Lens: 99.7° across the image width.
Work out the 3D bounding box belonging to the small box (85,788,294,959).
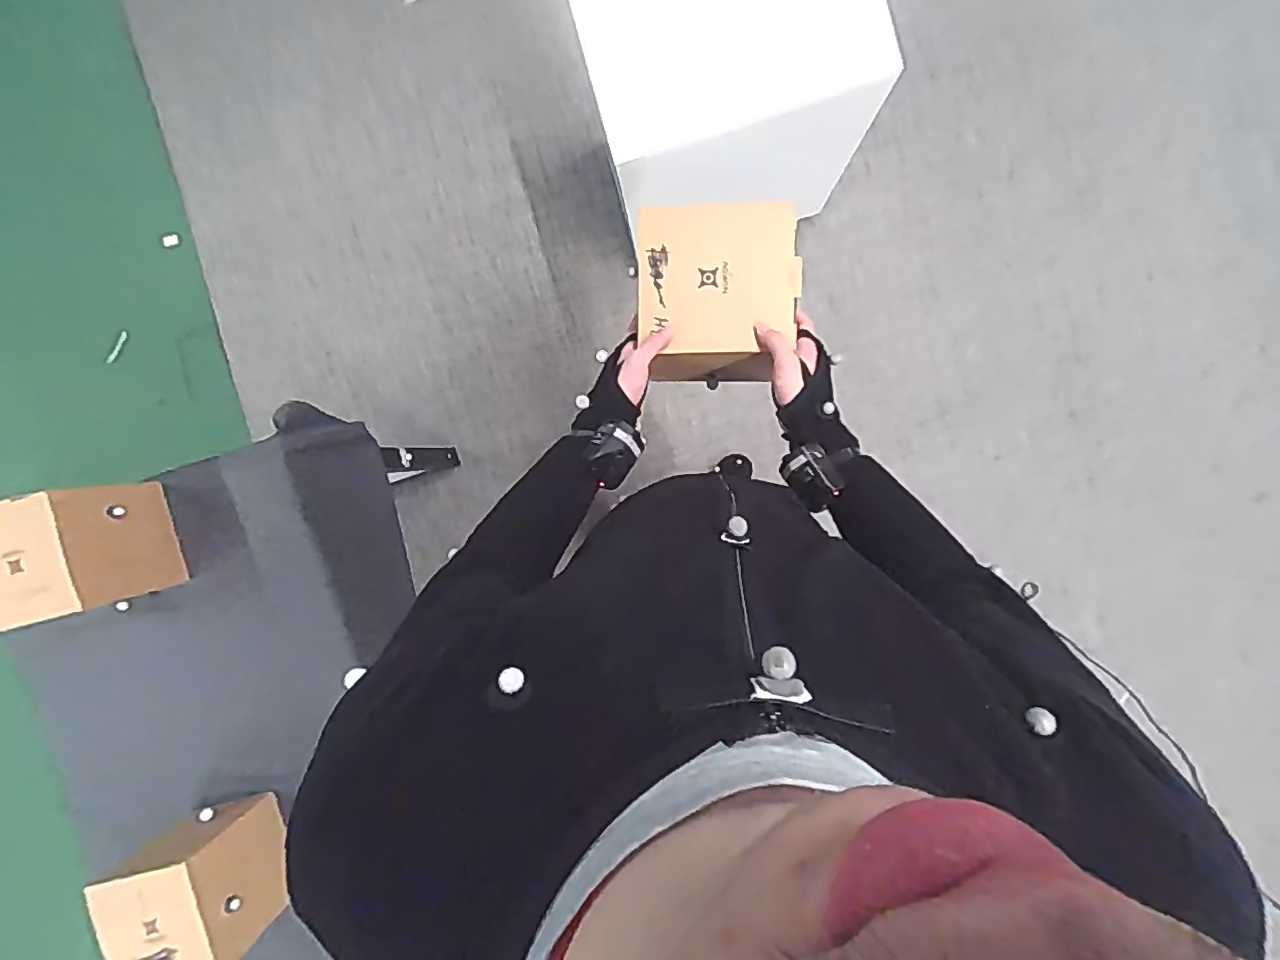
[{"bbox_3d":[-0.687,0.628,0.848,0.168,0.176,0.179,-16,91,5],"label":"small box"}]

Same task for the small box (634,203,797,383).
[{"bbox_3d":[0.087,-0.219,0.669,0.179,0.176,0.168,1,88,5],"label":"small box"}]

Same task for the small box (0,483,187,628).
[{"bbox_3d":[-0.860,0.105,0.831,0.168,0.176,0.179,-15,93,6],"label":"small box"}]
